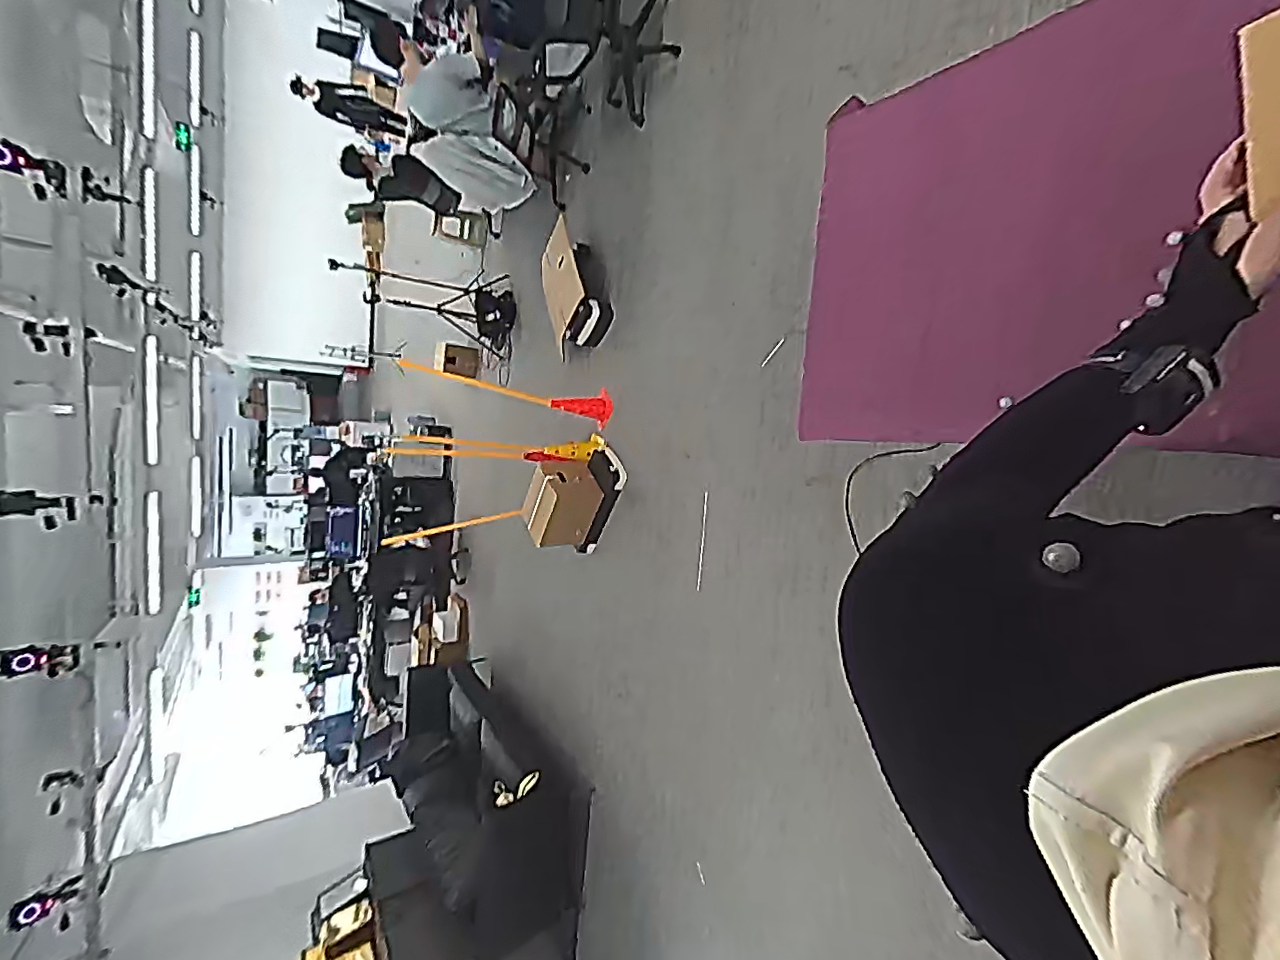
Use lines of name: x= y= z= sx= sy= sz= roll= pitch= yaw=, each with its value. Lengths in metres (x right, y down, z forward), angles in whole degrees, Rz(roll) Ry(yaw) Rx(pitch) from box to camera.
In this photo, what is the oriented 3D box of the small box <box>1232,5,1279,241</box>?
small box: x=0.626 y=-0.310 z=0.439 sx=0.168 sy=0.176 sz=0.179 roll=-4 pitch=91 yaw=58
